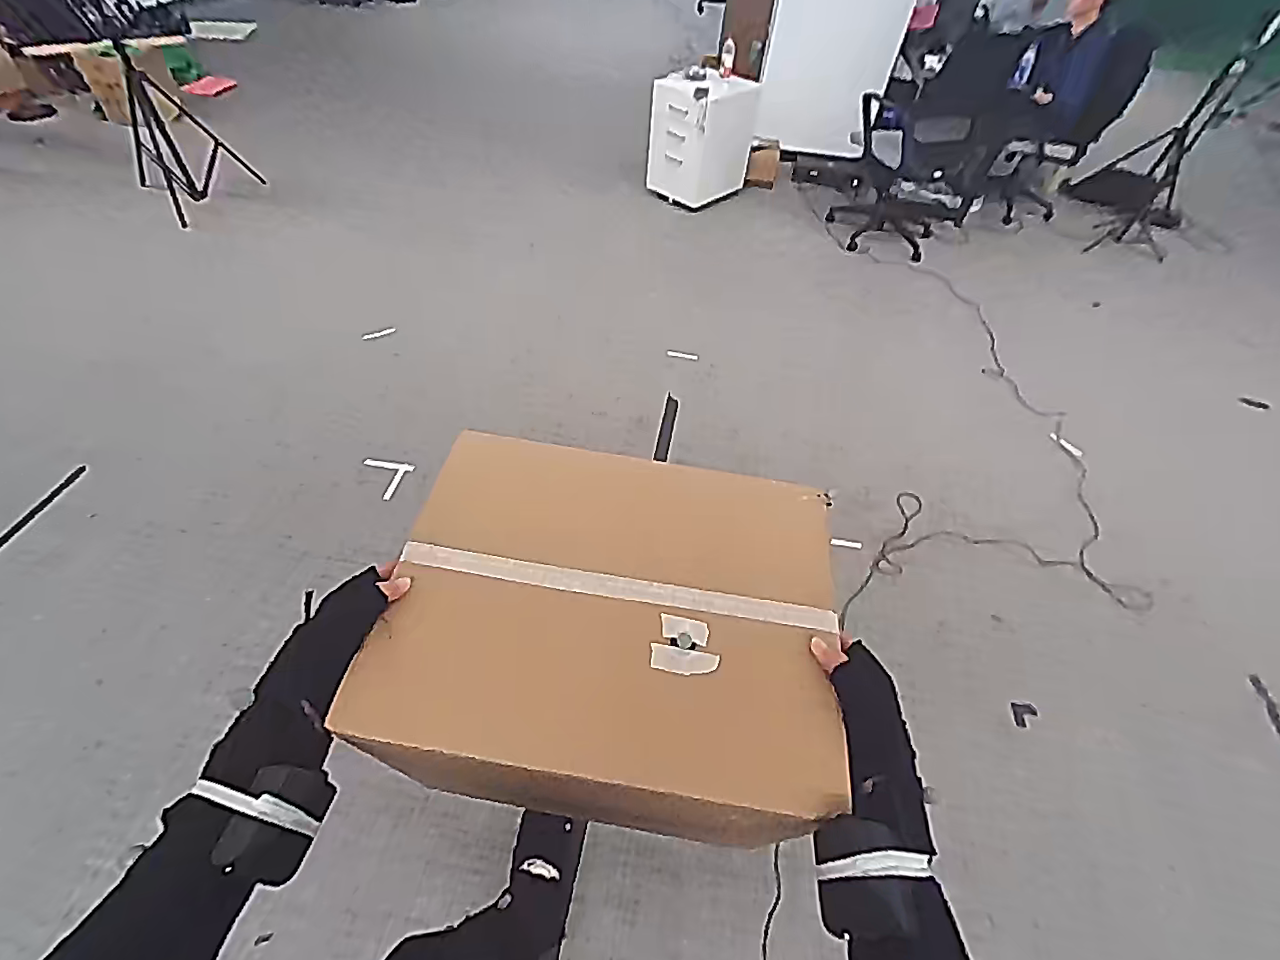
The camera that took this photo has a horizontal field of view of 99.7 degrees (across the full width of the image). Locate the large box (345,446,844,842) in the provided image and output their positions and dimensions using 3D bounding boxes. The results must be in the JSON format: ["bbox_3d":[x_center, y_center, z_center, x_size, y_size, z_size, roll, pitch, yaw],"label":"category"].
[{"bbox_3d":[-0.031,0.198,0.626,0.408,0.320,0.320,9,54,2],"label":"large box"}]
